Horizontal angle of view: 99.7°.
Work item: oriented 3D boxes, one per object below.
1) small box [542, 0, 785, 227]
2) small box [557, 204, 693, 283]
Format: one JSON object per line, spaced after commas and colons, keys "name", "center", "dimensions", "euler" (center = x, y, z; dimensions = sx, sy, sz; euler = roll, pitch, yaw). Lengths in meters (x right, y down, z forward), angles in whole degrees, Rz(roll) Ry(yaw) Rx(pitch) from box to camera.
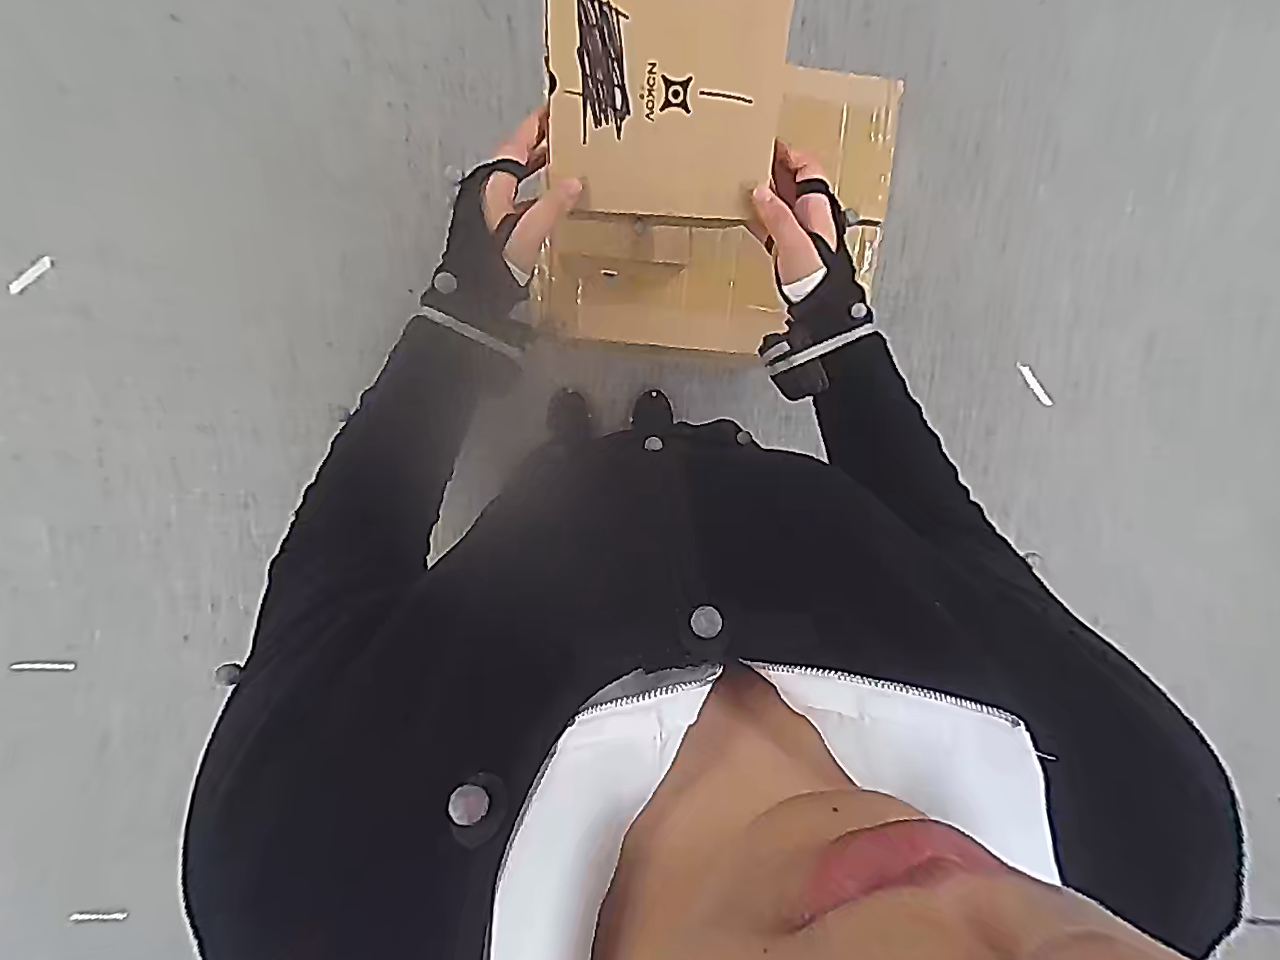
{"name": "small box", "center": [0.011, -0.322, 0.479], "dimensions": [0.179, 0.176, 0.168], "euler": [1, 112, -4]}
{"name": "small box", "center": [-0.020, -0.369, 0.716], "dimensions": [0.168, 0.176, 0.179], "euler": [3, 103, -5]}
